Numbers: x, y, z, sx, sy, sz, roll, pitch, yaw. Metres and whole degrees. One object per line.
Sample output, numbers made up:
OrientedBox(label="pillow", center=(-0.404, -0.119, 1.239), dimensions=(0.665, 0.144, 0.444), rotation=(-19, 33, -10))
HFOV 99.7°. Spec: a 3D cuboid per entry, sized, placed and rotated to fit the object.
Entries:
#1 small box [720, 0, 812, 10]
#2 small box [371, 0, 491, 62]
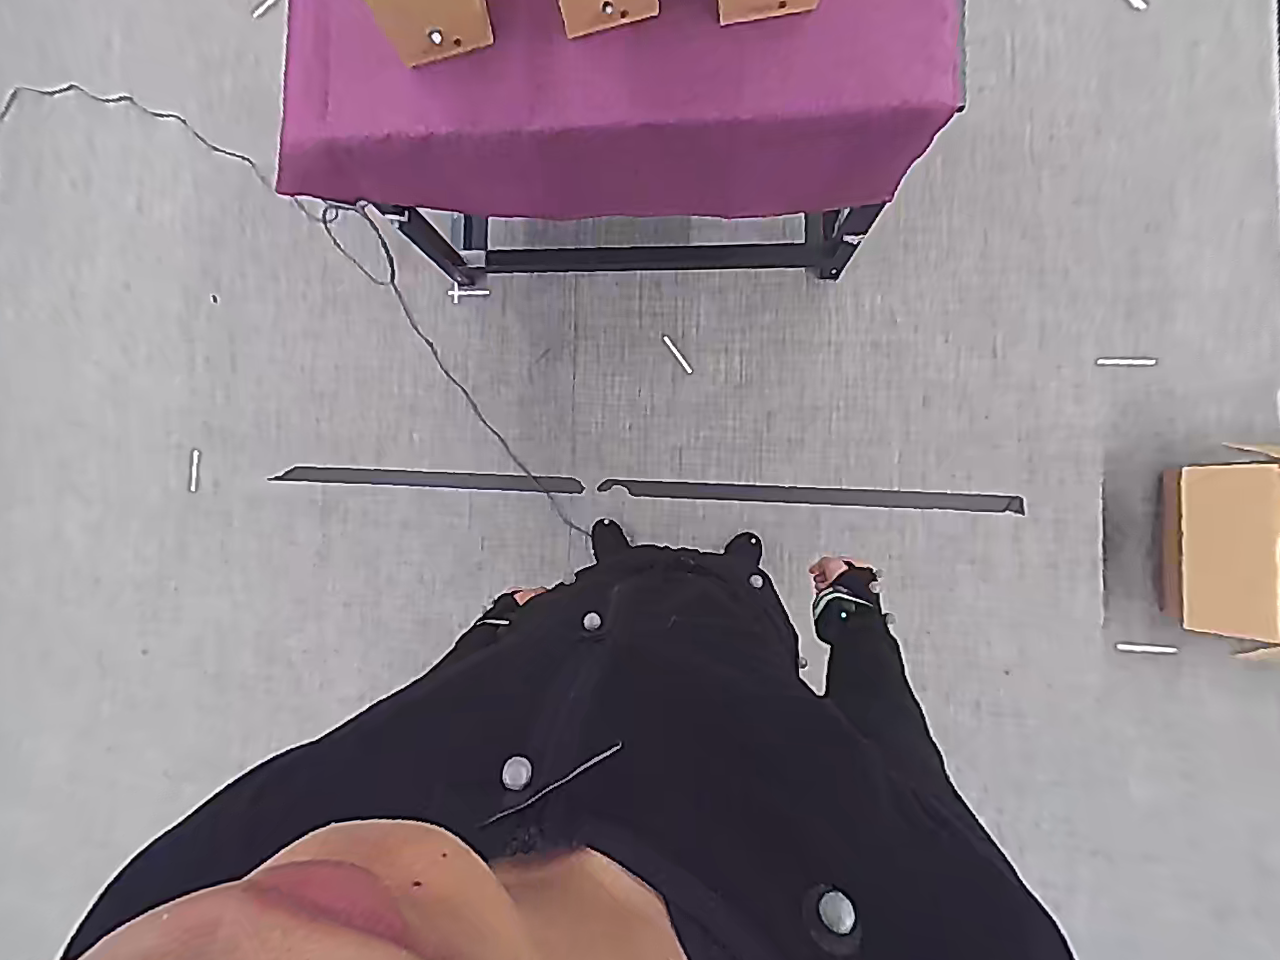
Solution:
OrientedBox(label="small box", center=(0.205, -0.879, 0.838), dimensions=(0.168, 0.176, 0.179), rotation=(-5, 87, 5))
OrientedBox(label="small box", center=(-0.365, -0.854, 0.894), dimensions=(0.168, 0.176, 0.179), rotation=(-13, 87, 5))
